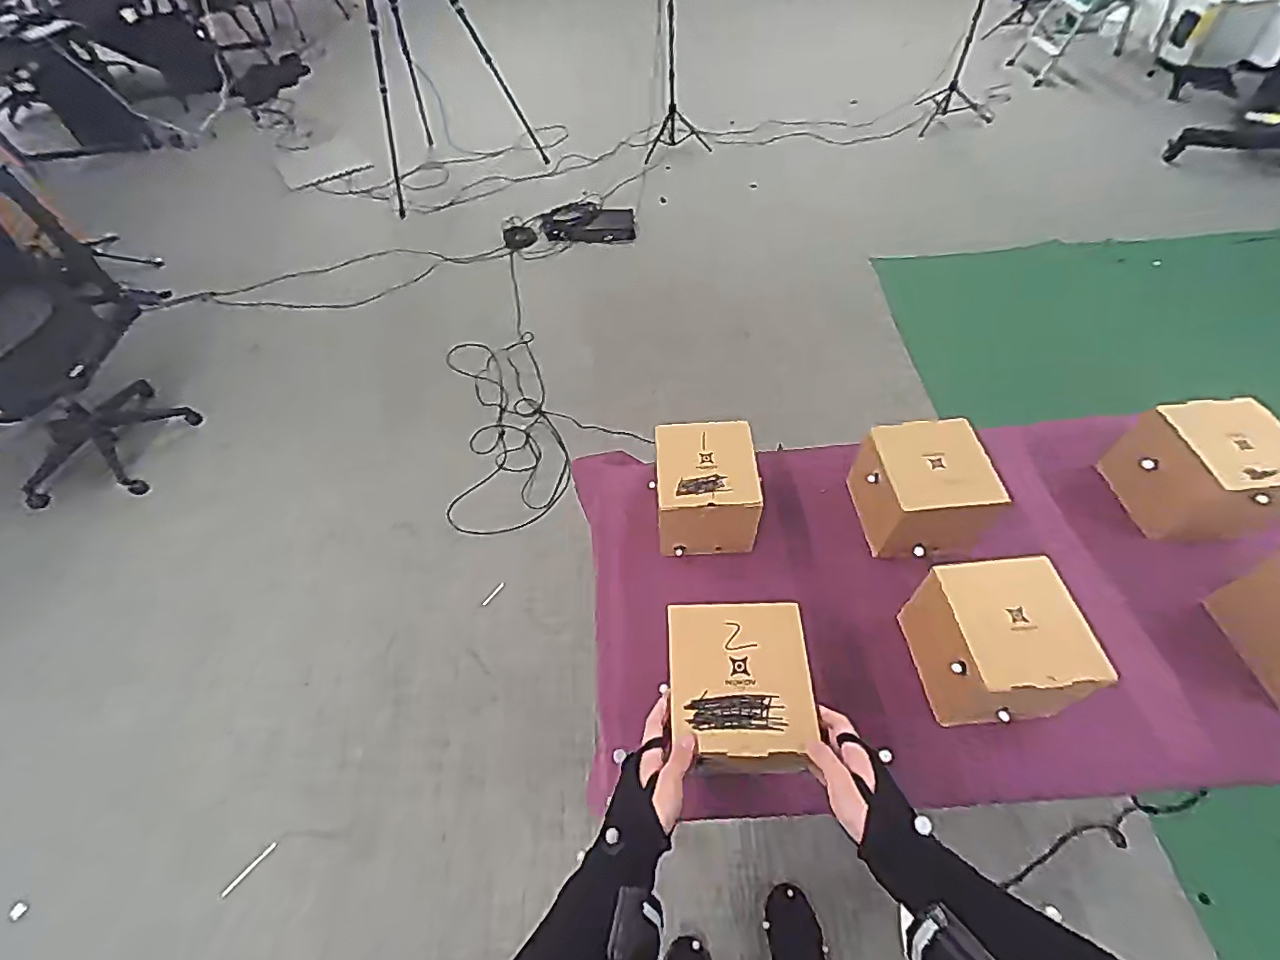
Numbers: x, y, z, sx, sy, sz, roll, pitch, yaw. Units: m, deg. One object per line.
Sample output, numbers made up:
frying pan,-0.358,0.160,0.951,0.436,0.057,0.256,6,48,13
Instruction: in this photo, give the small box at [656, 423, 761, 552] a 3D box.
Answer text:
small box,0.116,0.020,0.964,0.168,0.176,0.179,-2,55,2

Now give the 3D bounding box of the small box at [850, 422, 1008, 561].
small box,0.483,0.023,0.939,0.168,0.176,0.179,-5,54,2

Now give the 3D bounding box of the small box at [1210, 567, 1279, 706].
small box,0.981,0.214,0.752,0.168,0.176,0.179,-4,53,3

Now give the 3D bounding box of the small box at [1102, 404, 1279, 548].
small box,0.954,-0.005,0.920,0.168,0.176,0.179,-6,53,1

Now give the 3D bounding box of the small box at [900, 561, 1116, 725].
small box,0.505,0.237,0.779,0.168,0.176,0.179,-5,54,0
